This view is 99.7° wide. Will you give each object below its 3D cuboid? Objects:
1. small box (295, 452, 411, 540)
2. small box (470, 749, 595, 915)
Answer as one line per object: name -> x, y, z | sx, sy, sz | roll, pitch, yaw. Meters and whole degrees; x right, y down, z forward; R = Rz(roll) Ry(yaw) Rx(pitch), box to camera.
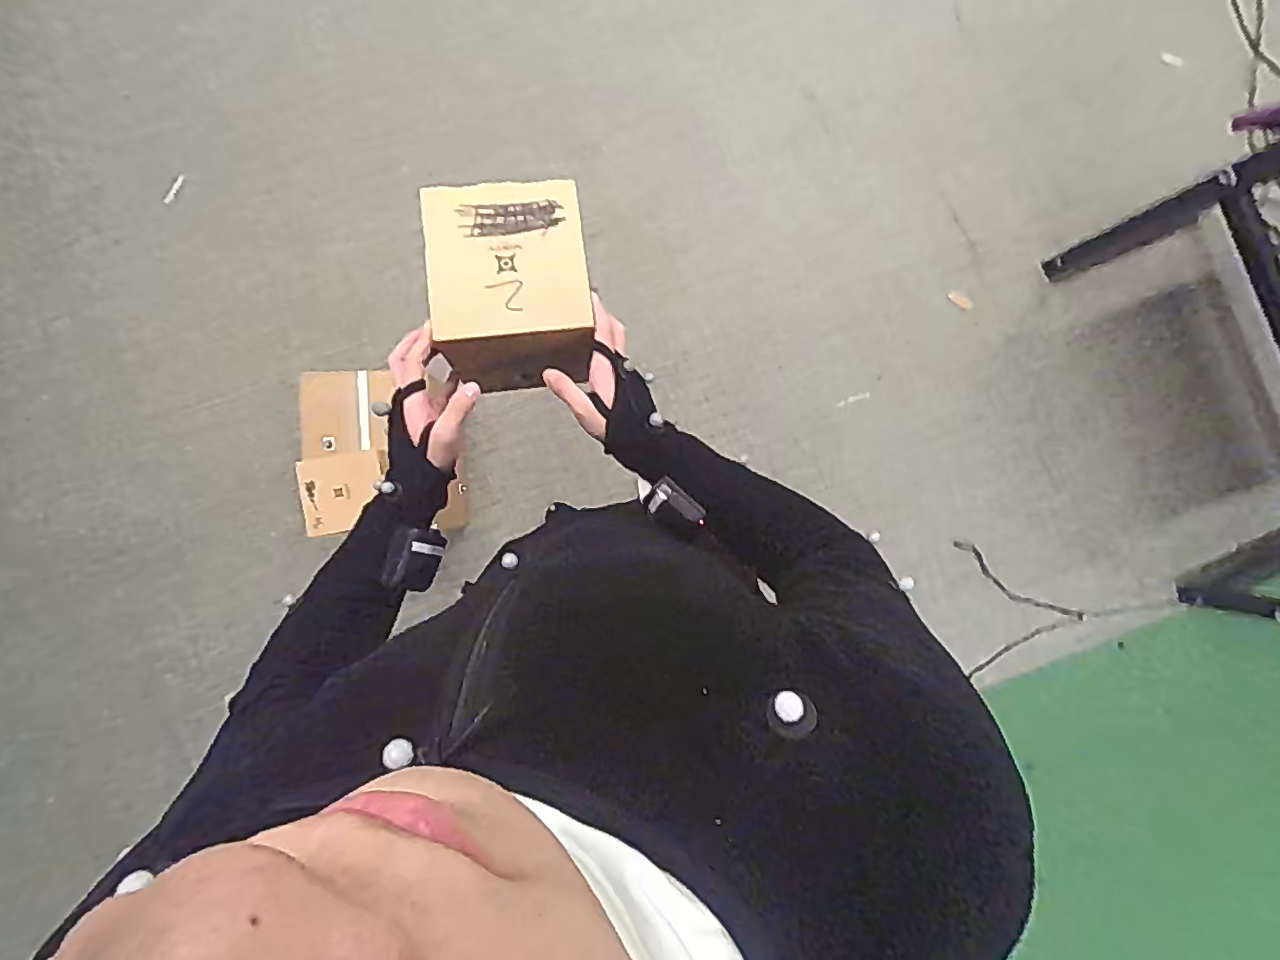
small box -> -0.636, 0.035, 1.223 | 0.179, 0.176, 0.168 | -11, 89, -5
small box -> -0.200, 0.681, 1.066 | 0.168, 0.176, 0.179 | 37, 86, -2
